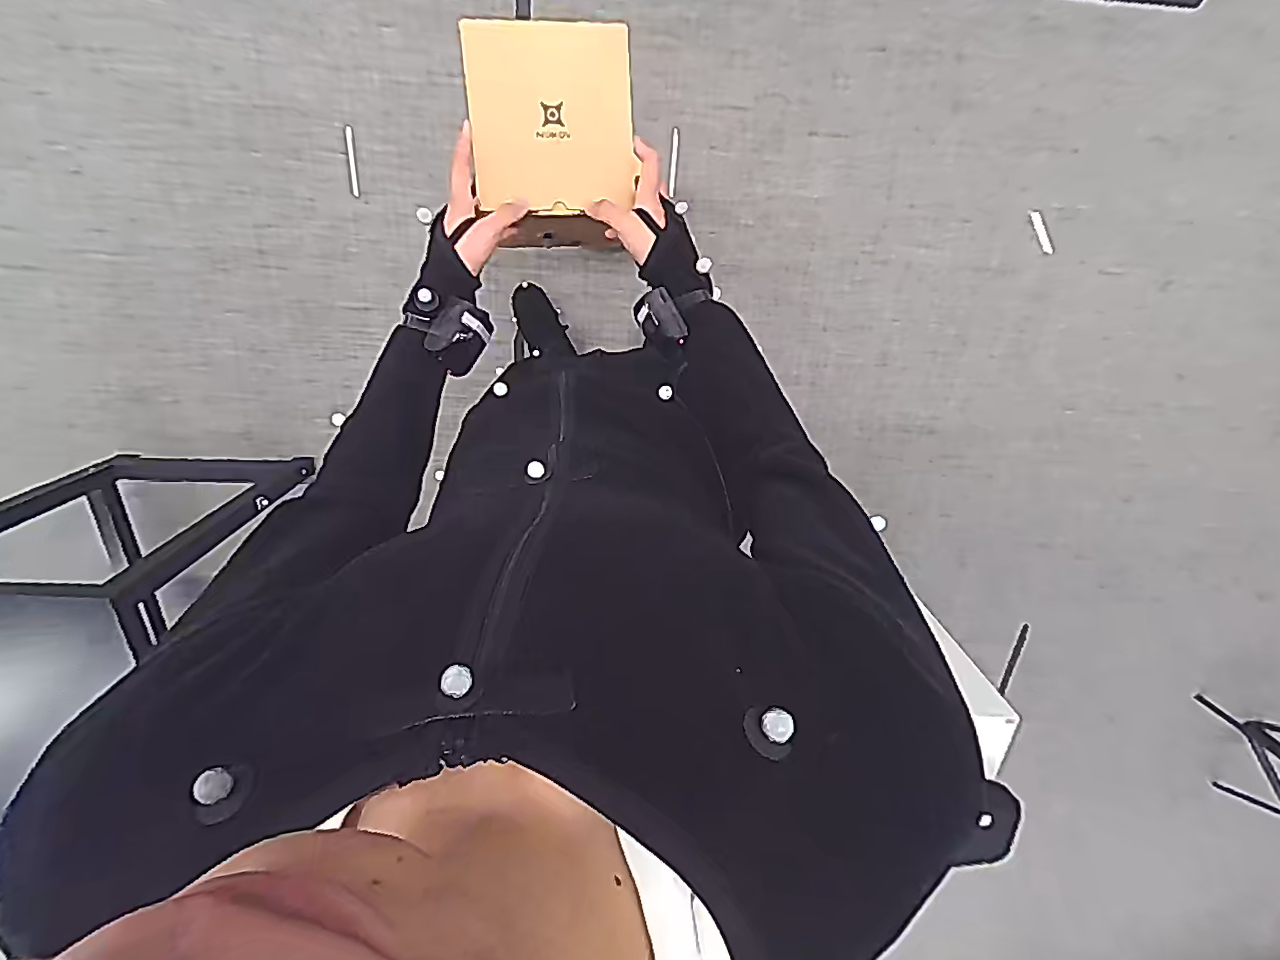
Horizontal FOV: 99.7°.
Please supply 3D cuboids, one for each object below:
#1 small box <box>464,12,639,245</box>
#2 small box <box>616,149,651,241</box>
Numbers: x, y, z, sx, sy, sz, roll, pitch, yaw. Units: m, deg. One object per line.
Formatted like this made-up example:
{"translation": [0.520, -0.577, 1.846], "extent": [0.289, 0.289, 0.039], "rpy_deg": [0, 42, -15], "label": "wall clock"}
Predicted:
{"translation": [-0.097, -0.379, 0.616], "extent": [0.168, 0.176, 0.179], "rpy_deg": [-5, 103, -8], "label": "small box"}
{"translation": [-0.073, -0.612, 1.166], "extent": [0.179, 0.176, 0.168], "rpy_deg": [2, 113, -4], "label": "small box"}
